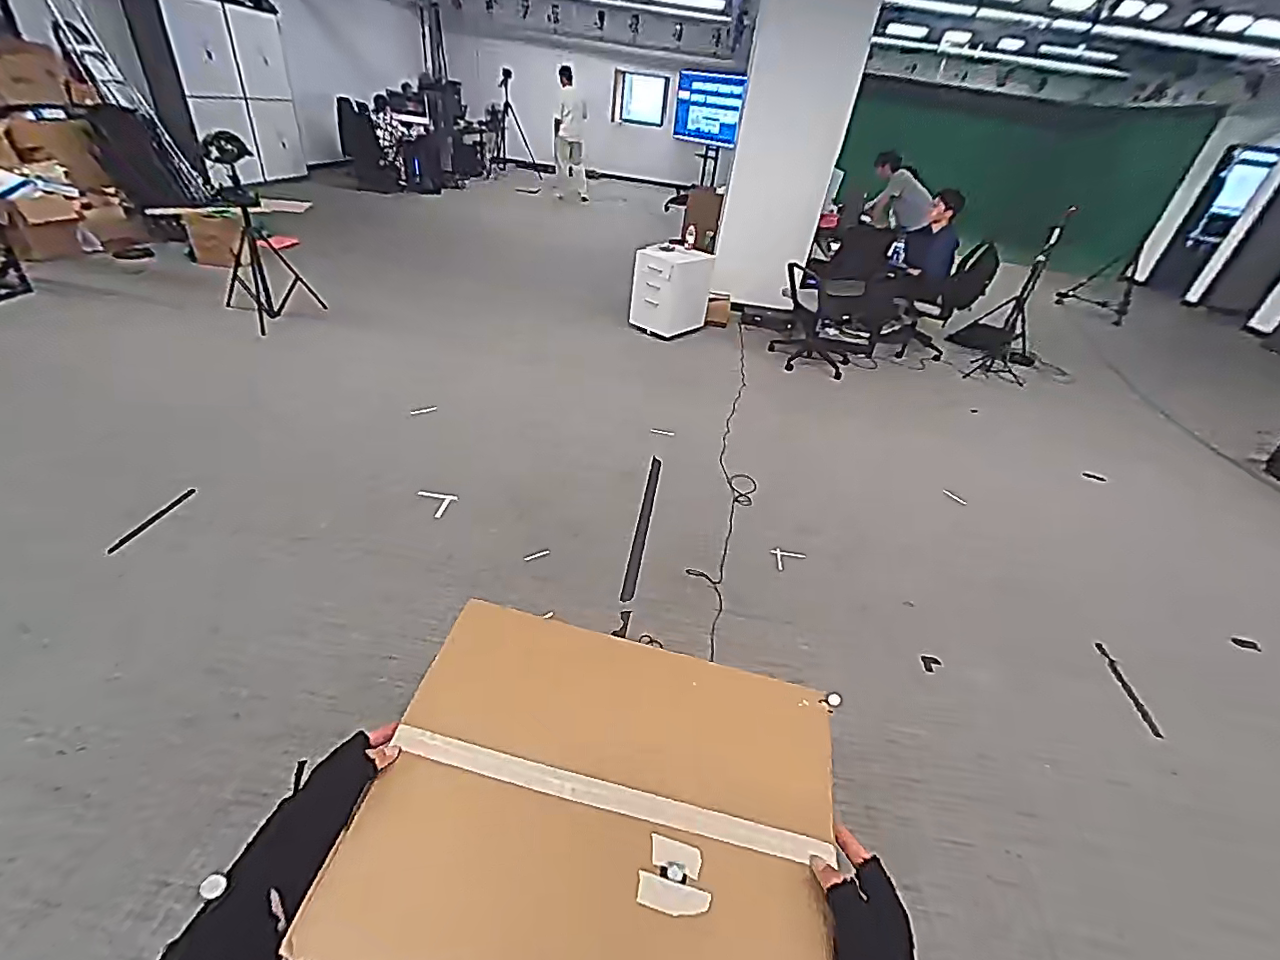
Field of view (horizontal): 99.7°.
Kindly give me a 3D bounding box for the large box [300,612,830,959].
[{"bbox_3d":[-0.050,0.399,0.588,0.408,0.320,0.320,15,43,3],"label":"large box"}]
